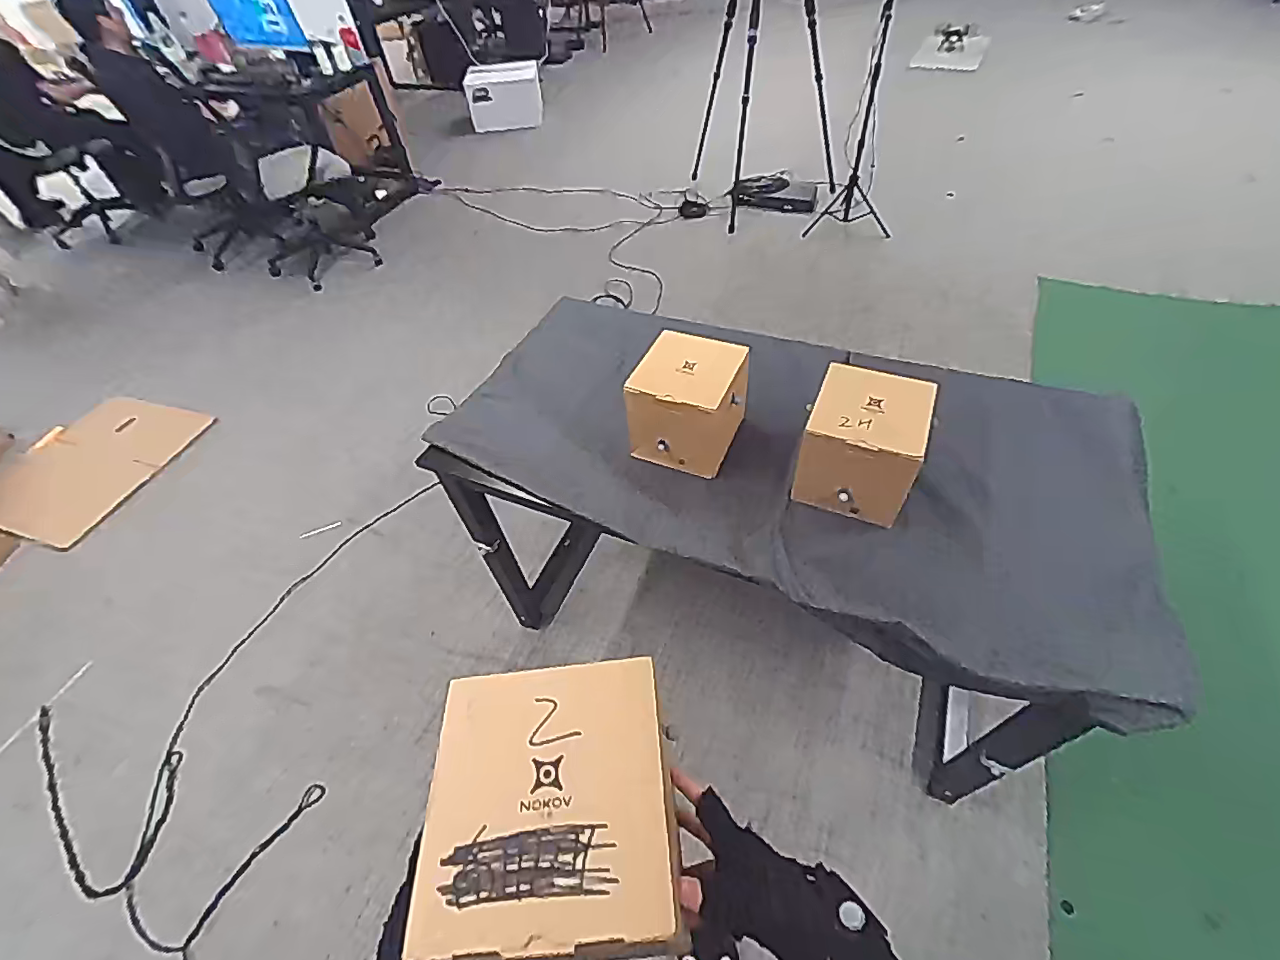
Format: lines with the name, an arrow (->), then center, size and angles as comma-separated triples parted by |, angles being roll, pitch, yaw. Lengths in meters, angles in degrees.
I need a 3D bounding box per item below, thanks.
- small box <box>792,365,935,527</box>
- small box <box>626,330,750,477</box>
small box -> 0.358, -0.055, 0.884 | 0.168, 0.176, 0.179 | 18, 54, 19
small box -> 0.087, -0.137, 0.976 | 0.168, 0.176, 0.179 | 18, 54, 18
